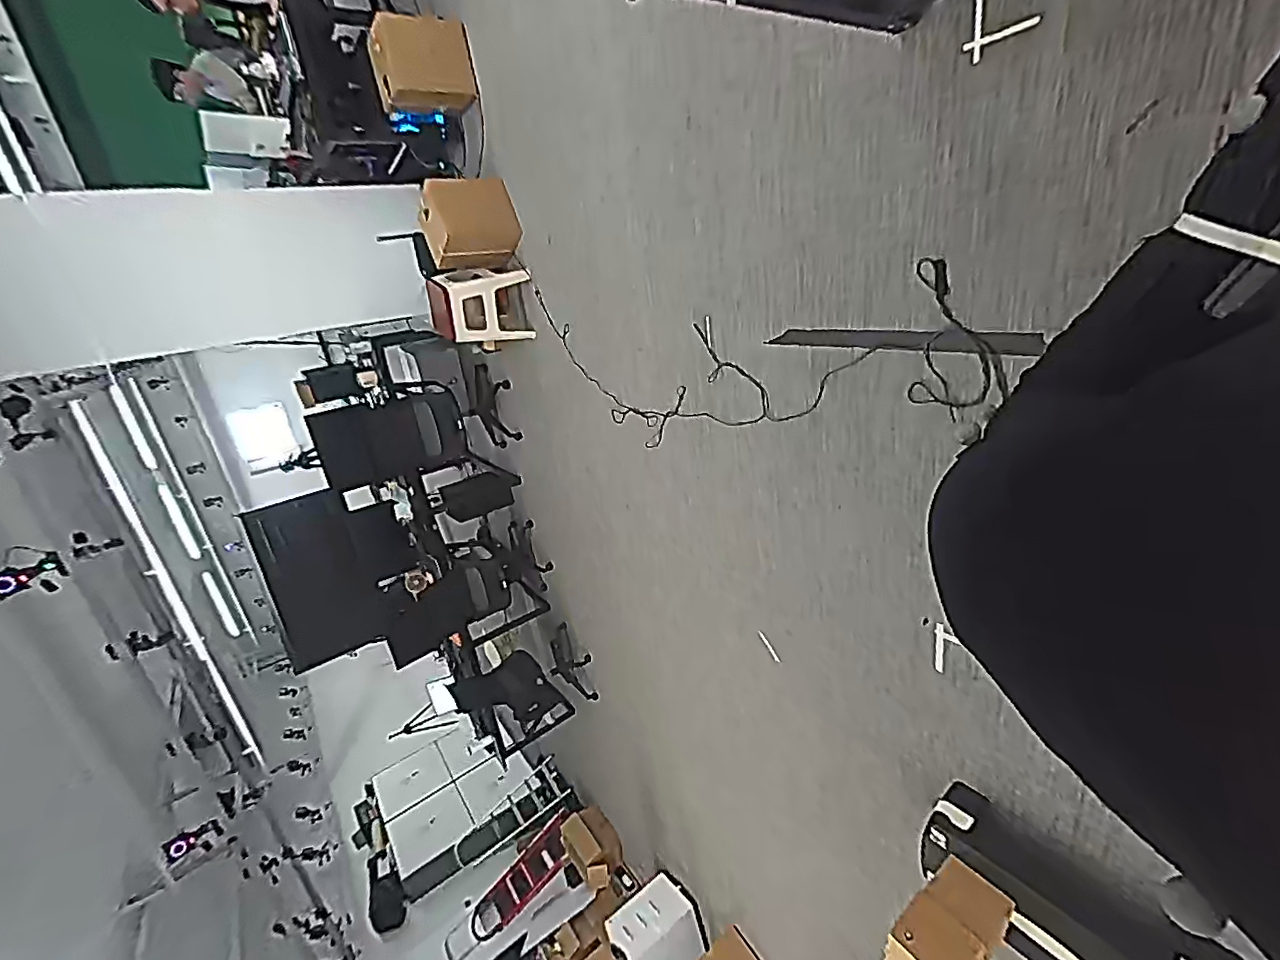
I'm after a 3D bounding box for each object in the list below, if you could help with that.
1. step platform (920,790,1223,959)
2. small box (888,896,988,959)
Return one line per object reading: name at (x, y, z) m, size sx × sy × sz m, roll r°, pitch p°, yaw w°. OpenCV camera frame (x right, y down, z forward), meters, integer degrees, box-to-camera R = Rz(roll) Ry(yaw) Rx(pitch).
step platform at (1.149, 1.220, 1.499) m, size 0.684 × 0.204 × 0.286 m, roll 20°, pitch 125°, yaw 51°
small box at (0.789, 1.275, 1.437) m, size 0.179 × 0.176 × 0.168 m, roll 25°, pitch 129°, yaw 50°
